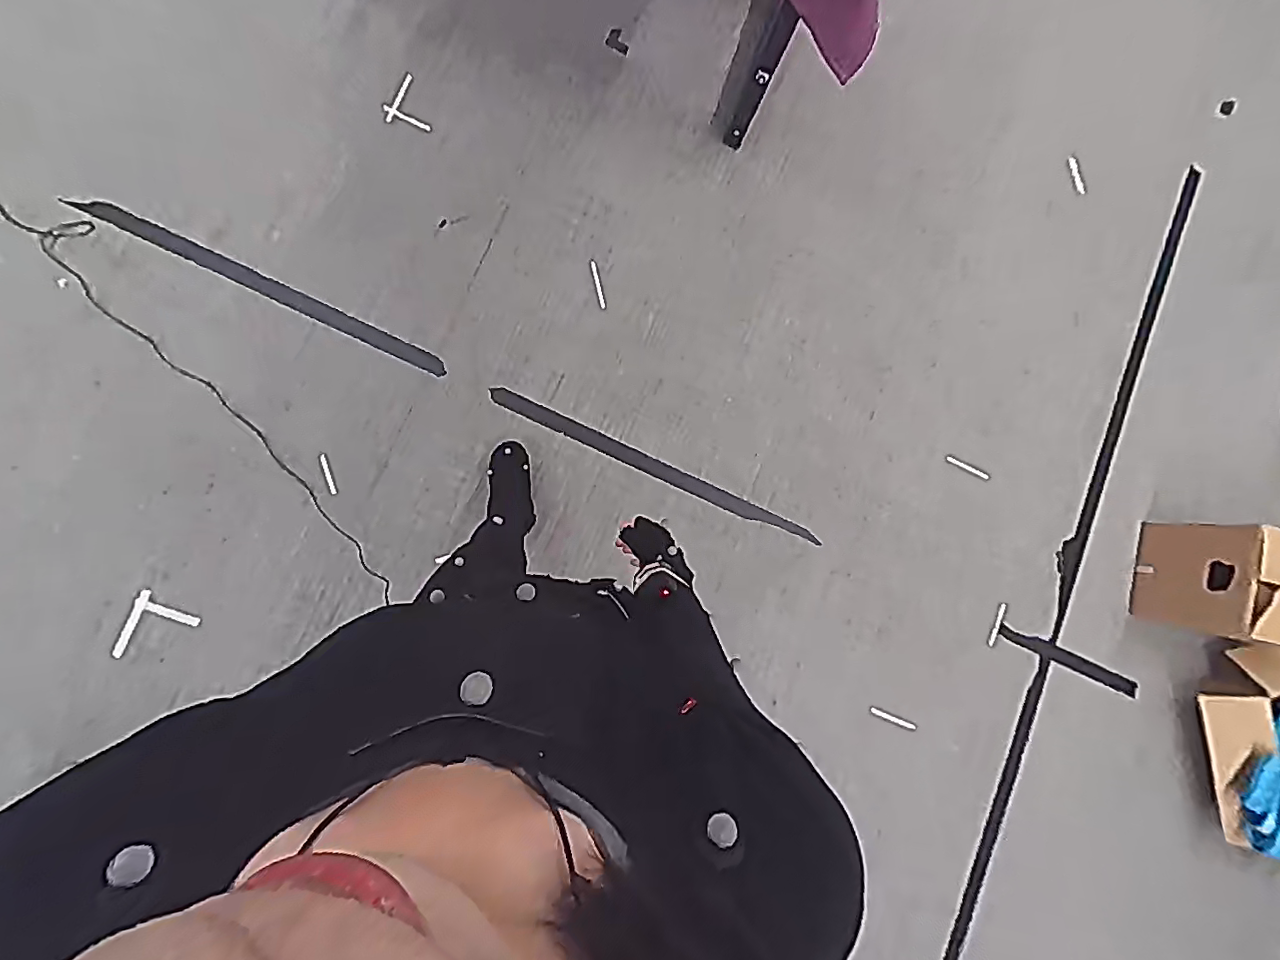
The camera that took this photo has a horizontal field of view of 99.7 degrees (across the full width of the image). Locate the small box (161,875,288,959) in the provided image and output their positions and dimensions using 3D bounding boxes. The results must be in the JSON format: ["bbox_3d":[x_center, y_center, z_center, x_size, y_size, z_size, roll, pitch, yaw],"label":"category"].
[{"bbox_3d":[-0.935,1.044,1.209,0.168,0.176,0.179,23,83,-5],"label":"small box"}]
